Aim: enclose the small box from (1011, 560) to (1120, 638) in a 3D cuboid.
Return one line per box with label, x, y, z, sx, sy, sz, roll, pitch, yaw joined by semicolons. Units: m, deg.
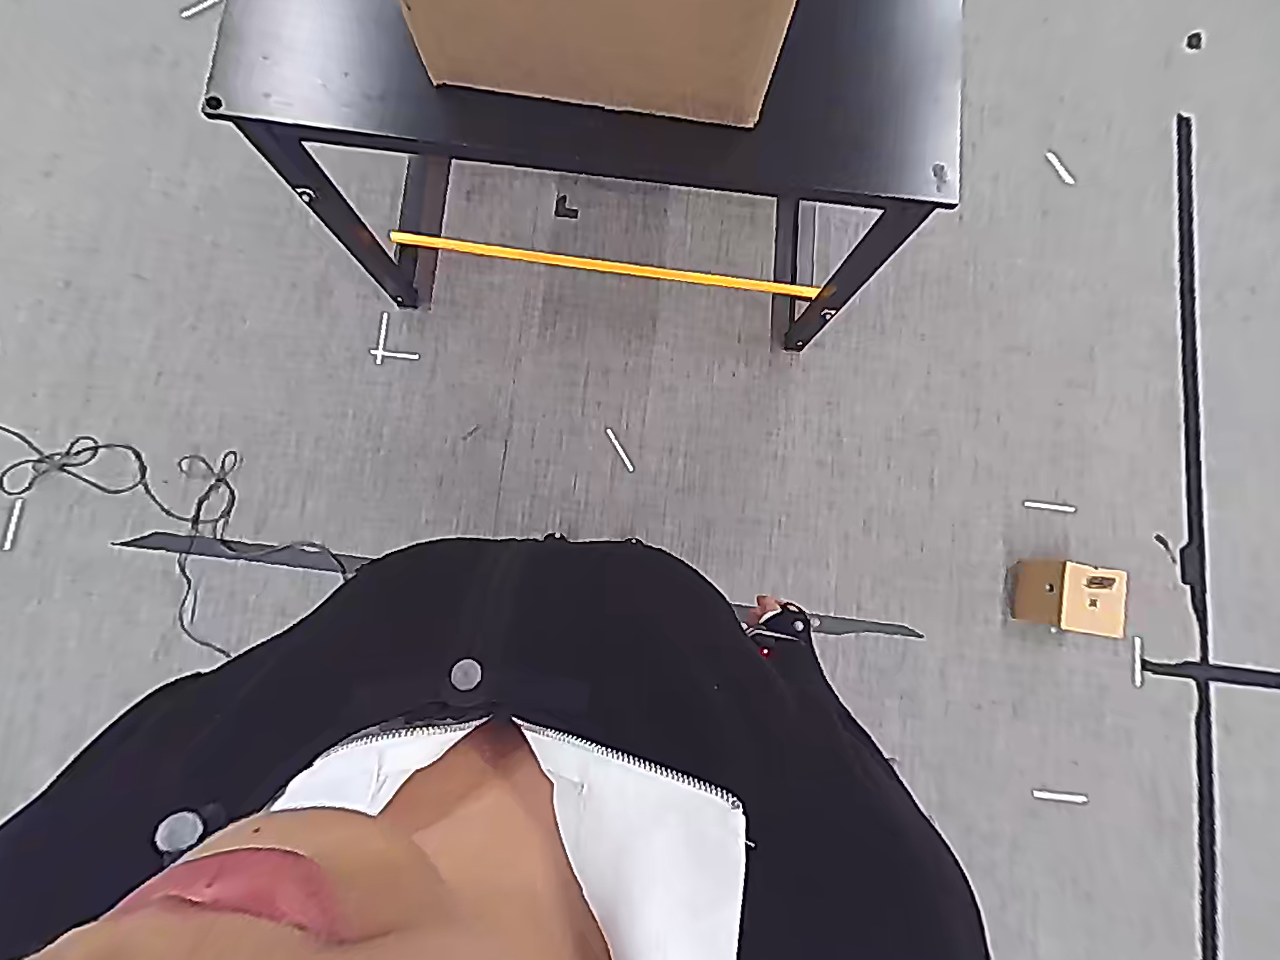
small box;1.155;0.319;1.478;0.168;0.176;0.179;10;84;-1
